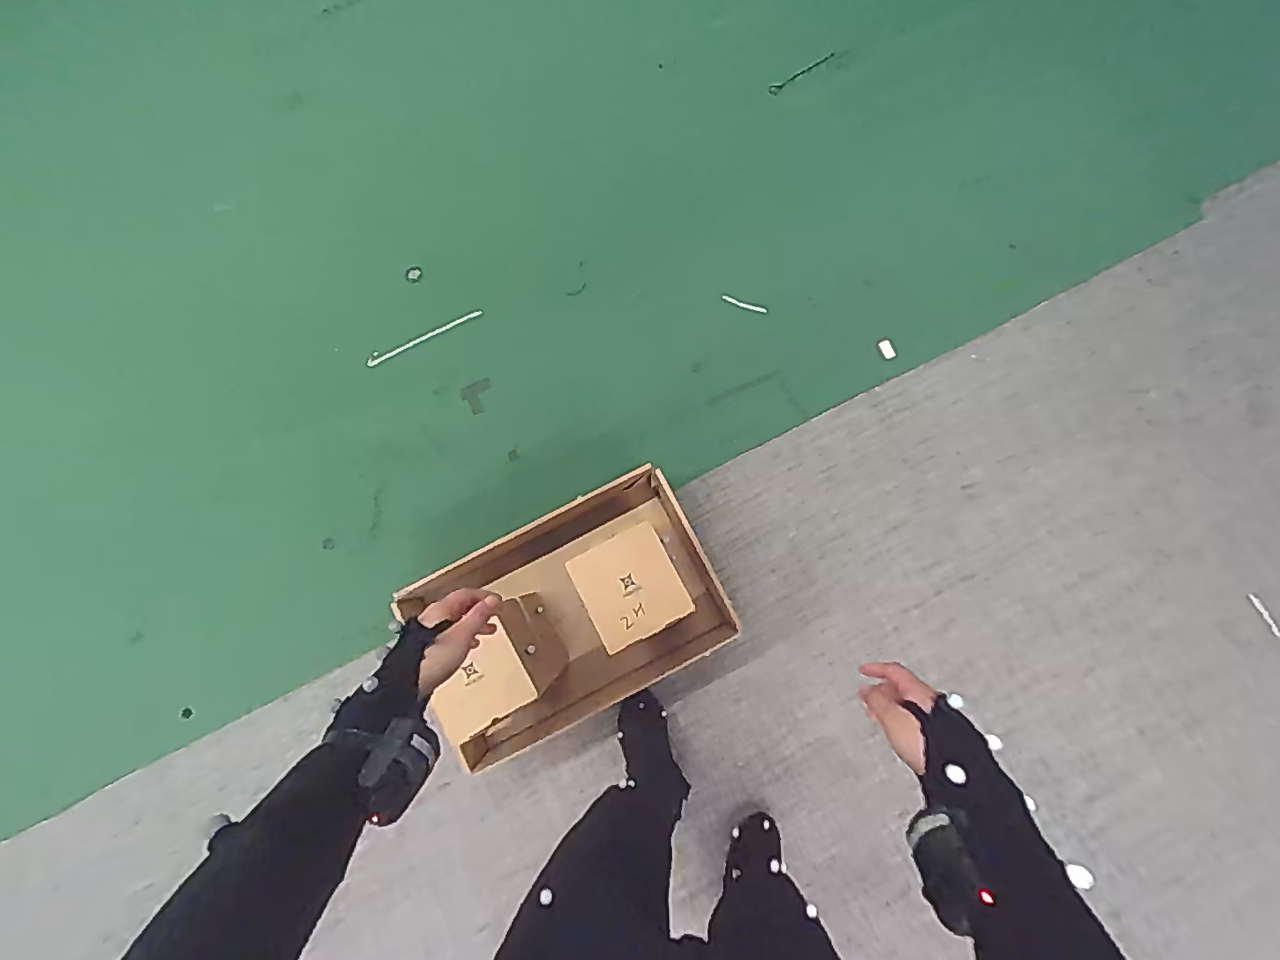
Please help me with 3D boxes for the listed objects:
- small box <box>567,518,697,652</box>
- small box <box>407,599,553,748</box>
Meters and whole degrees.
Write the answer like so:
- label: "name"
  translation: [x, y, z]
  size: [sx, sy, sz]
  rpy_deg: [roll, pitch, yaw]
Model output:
- label: "small box"
  translation: [-0.014, 0.186, 0.983]
  size: [0.168, 0.176, 0.179]
  rpy_deg: [-28, 83, -2]
- label: "small box"
  translation: [-0.273, 0.331, 0.966]
  size: [0.168, 0.176, 0.179]
  rpy_deg: [-30, 83, -4]
